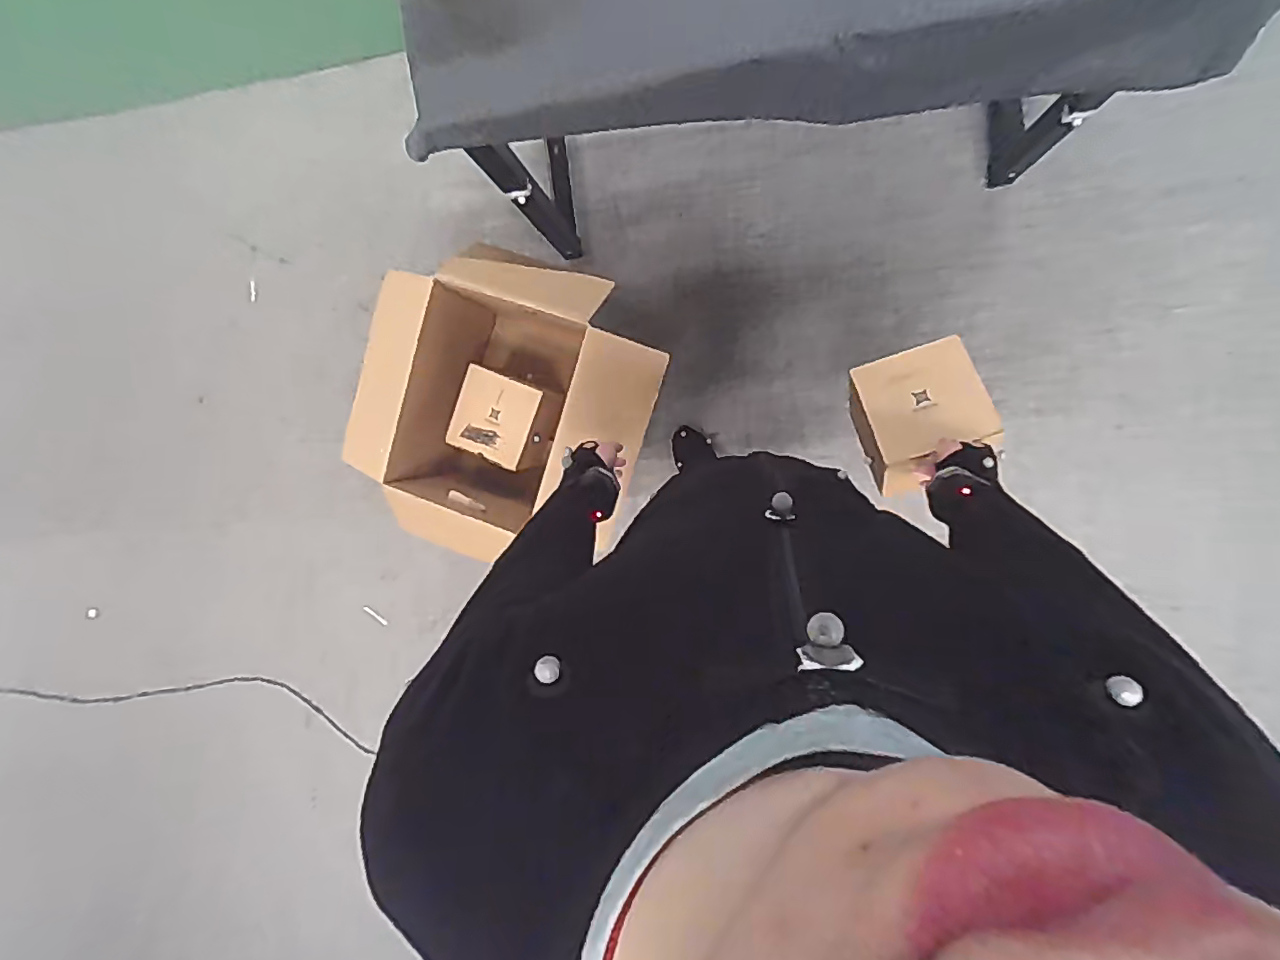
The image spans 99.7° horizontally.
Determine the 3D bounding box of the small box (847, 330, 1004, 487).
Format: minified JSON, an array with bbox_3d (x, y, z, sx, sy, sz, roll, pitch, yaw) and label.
[{"bbox_3d":[0.446,-0.101,0.871,0.168,0.176,0.179,-17,65,14],"label":"small box"}]
